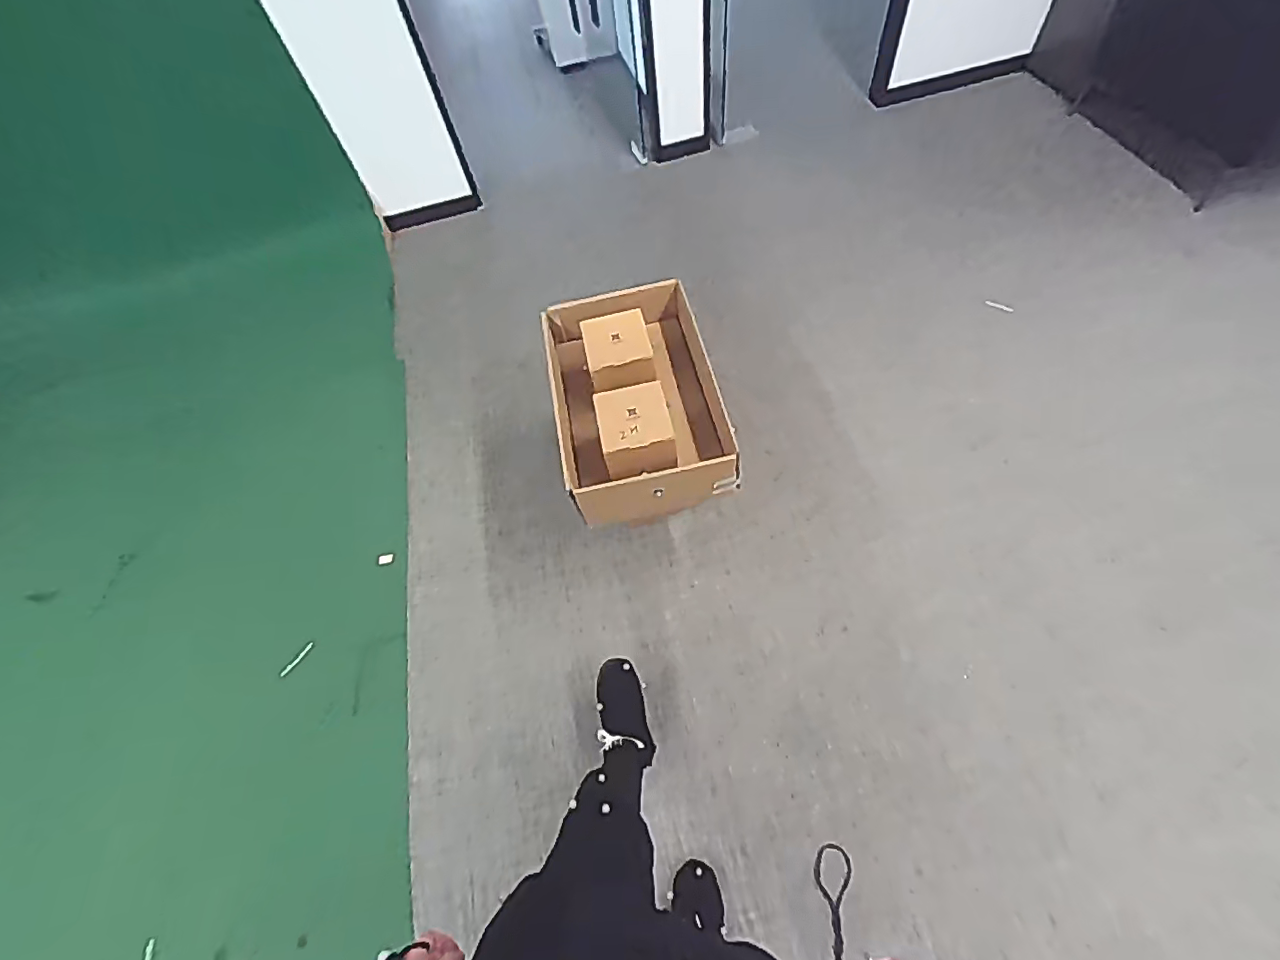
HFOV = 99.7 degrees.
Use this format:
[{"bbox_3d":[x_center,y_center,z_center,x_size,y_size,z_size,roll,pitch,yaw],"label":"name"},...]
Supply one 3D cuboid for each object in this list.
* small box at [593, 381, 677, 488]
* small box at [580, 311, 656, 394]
[{"bbox_3d":[-0.010,-0.106,1.304,0.168,0.176,0.179,-13,58,1],"label":"small box"},{"bbox_3d":[-0.056,-0.316,1.442,0.168,0.176,0.179,-14,60,-1],"label":"small box"}]
